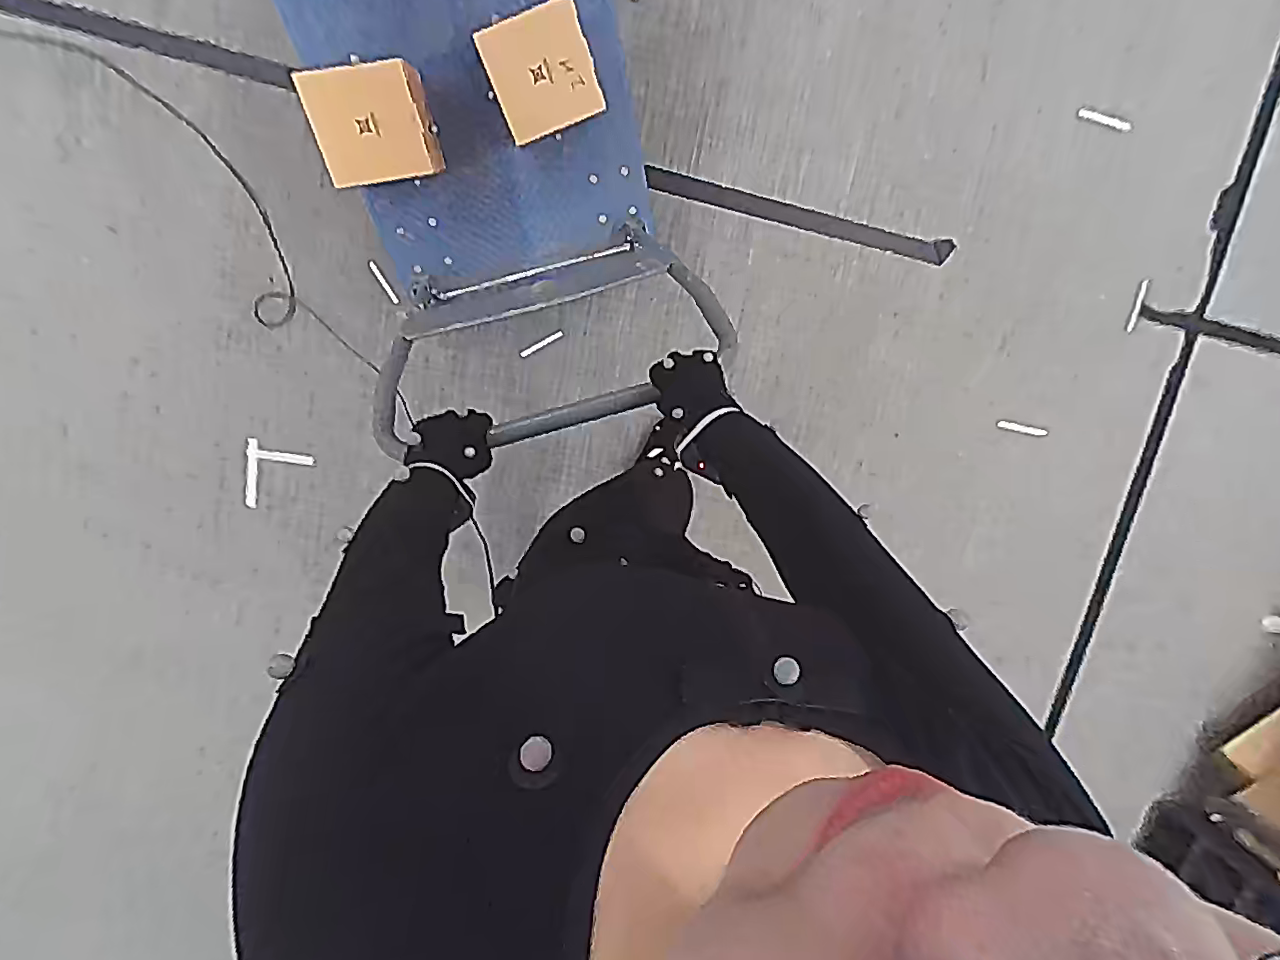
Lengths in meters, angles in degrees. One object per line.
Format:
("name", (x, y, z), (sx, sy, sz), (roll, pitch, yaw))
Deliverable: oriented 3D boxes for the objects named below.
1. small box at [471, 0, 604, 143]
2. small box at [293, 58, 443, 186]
("small box", (-0.180, -0.729, 0.978), (0.179, 0.176, 0.168), (-22, 123, 2))
("small box", (-0.474, -0.635, 0.973), (0.179, 0.176, 0.168), (-13, 123, -6))
